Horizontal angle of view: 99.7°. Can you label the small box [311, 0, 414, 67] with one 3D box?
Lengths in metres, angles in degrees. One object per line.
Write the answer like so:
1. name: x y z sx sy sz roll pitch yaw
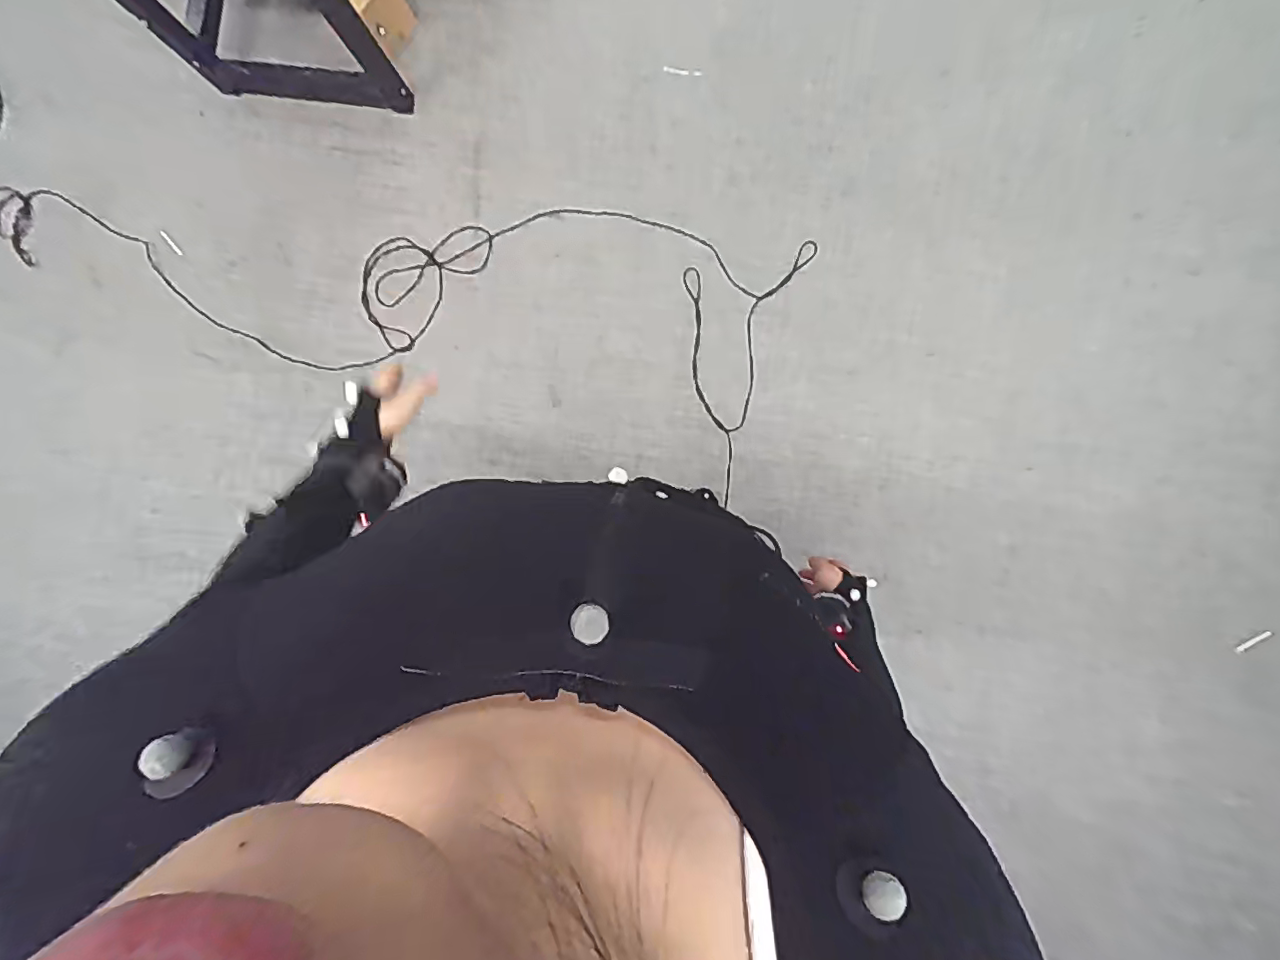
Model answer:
1. small box: -0.751 -1.271 1.458 0.179 0.176 0.168 42 92 3
